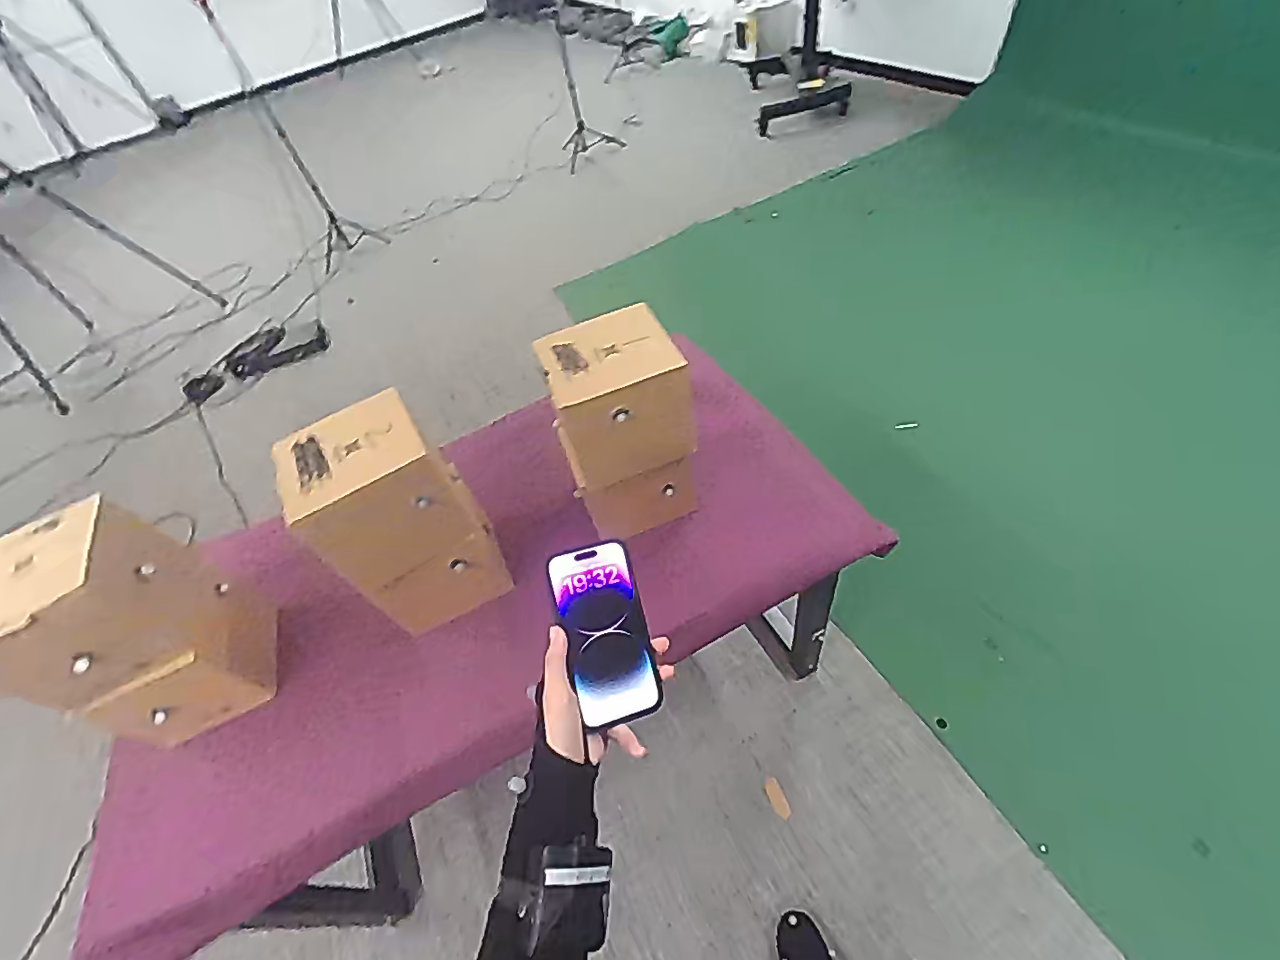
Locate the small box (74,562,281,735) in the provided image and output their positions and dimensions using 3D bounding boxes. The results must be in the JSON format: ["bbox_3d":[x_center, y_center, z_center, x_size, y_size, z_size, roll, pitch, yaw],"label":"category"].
[{"bbox_3d":[-0.682,0.265,0.825,0.168,0.176,0.179,-25,50,-8],"label":"small box"}]

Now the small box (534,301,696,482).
[{"bbox_3d":[-0.032,-0.123,0.782,0.179,0.176,0.168,-21,49,-5],"label":"small box"}]

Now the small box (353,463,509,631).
[{"bbox_3d":[-0.326,0.109,0.871,0.179,0.176,0.168,-26,50,-9],"label":"small box"}]

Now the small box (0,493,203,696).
[{"bbox_3d":[-0.714,0.157,0.706,0.168,0.176,0.179,-29,52,-12],"label":"small box"}]

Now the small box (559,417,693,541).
[{"bbox_3d":[-0.017,-0.027,0.915,0.179,0.176,0.168,-21,49,-4],"label":"small box"}]
